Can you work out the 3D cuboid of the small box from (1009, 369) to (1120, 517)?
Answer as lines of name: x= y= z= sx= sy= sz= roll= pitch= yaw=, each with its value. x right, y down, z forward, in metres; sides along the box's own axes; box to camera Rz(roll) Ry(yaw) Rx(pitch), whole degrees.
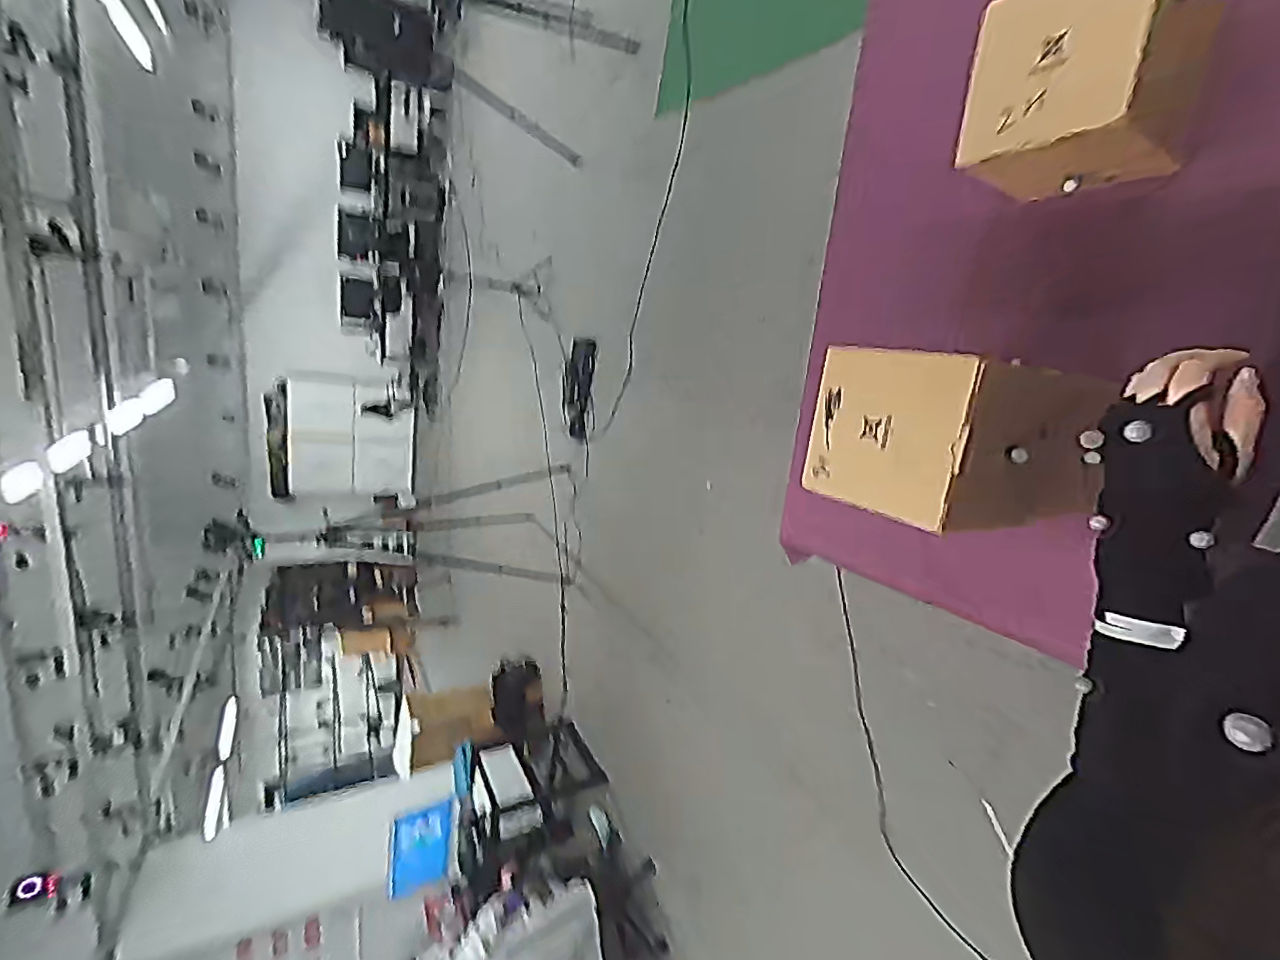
small box: x=0.462 y=-0.056 z=0.700 sx=0.179 sy=0.176 sz=0.168 roll=26 pitch=112 yaw=55

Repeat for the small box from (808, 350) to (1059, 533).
small box: x=0.325 y=-0.050 z=0.610 sx=0.179 sy=0.176 sz=0.168 roll=26 pitch=112 yaw=55

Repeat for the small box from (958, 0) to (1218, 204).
small box: x=0.508 y=-0.444 z=0.618 sx=0.168 sy=0.176 sz=0.179 roll=24 pitch=111 yaw=57
